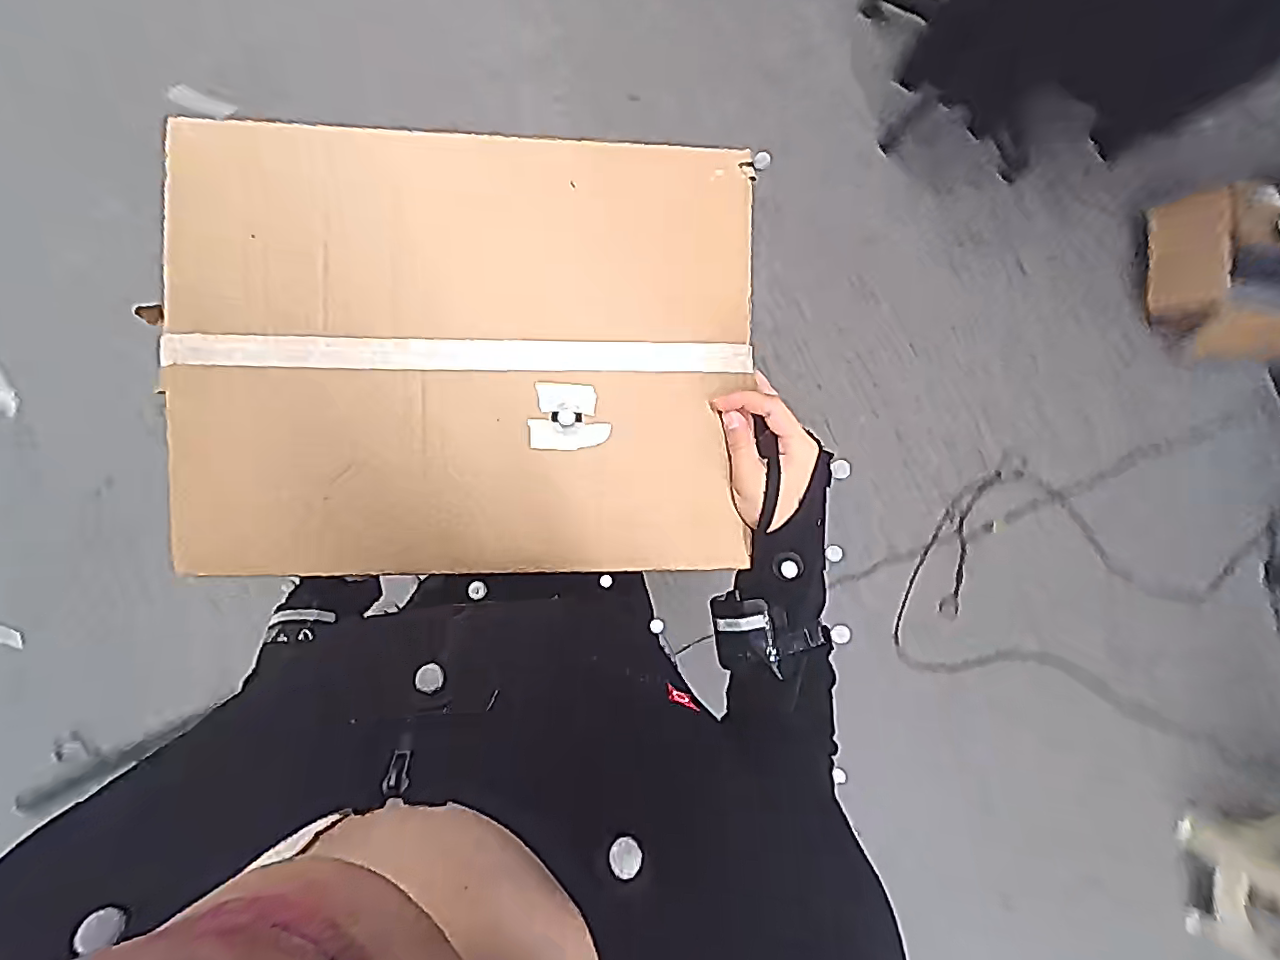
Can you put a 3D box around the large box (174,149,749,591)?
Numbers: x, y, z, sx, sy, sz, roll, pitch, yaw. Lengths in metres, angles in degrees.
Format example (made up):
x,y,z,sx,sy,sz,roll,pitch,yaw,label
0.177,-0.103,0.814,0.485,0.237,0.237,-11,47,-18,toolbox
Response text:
x,y,z,sx,sy,sz,roll,pitch,yaw,label
-0.137,-0.086,0.543,0.408,0.320,0.320,-2,92,-6,large box
